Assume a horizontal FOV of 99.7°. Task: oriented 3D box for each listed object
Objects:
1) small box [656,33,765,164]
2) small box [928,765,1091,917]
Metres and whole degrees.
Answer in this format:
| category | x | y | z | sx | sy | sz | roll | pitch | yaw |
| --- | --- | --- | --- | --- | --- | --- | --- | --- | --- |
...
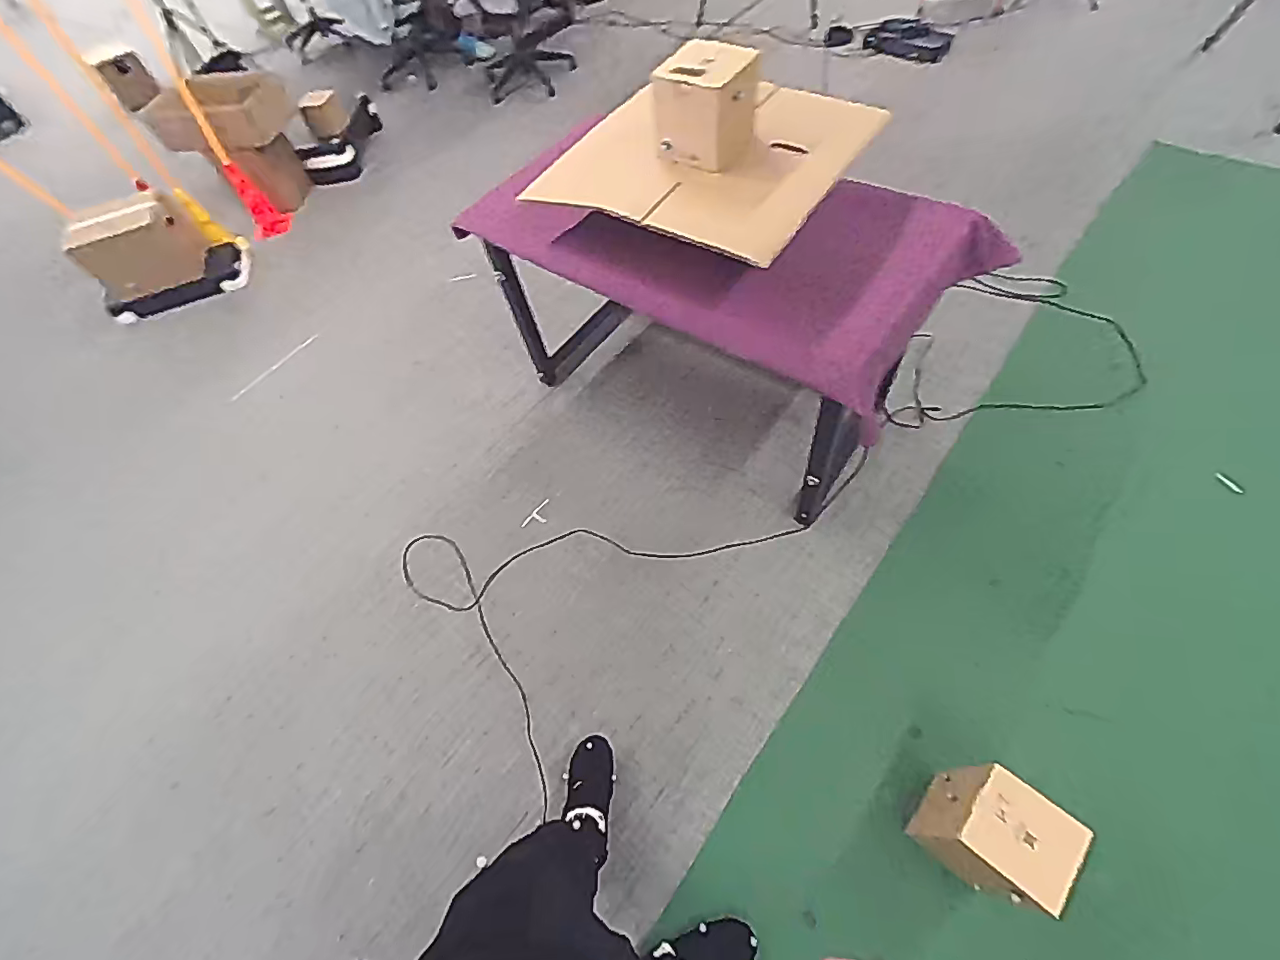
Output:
| category | x | y | z | sx | sy | sz | roll | pitch | yaw |
| --- | --- | --- | --- | --- | --- | --- | --- | --- | --- |
| small box | 0.154 | -0.825 | 1.178 | 0.168 | 0.176 | 0.179 | 30 | 67 | 21 |
| small box | 0.701 | 0.685 | 1.047 | 0.179 | 0.176 | 0.168 | 36 | 69 | 25 |
